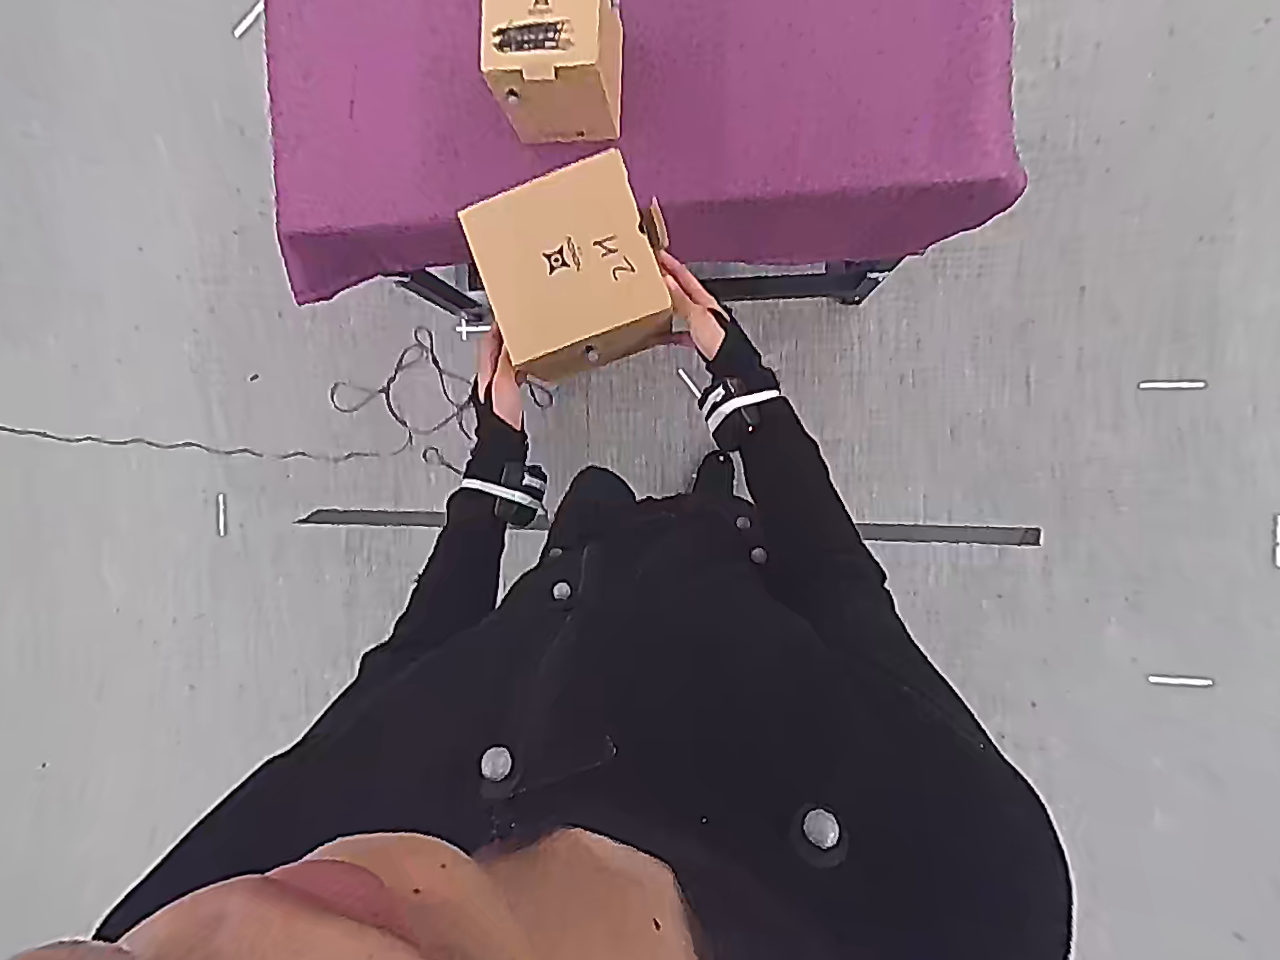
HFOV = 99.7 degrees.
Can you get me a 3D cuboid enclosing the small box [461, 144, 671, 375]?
[{"bbox_3d":[-0.070,-0.231,0.619,0.179,0.176,0.168,-19,92,4],"label":"small box"}]
